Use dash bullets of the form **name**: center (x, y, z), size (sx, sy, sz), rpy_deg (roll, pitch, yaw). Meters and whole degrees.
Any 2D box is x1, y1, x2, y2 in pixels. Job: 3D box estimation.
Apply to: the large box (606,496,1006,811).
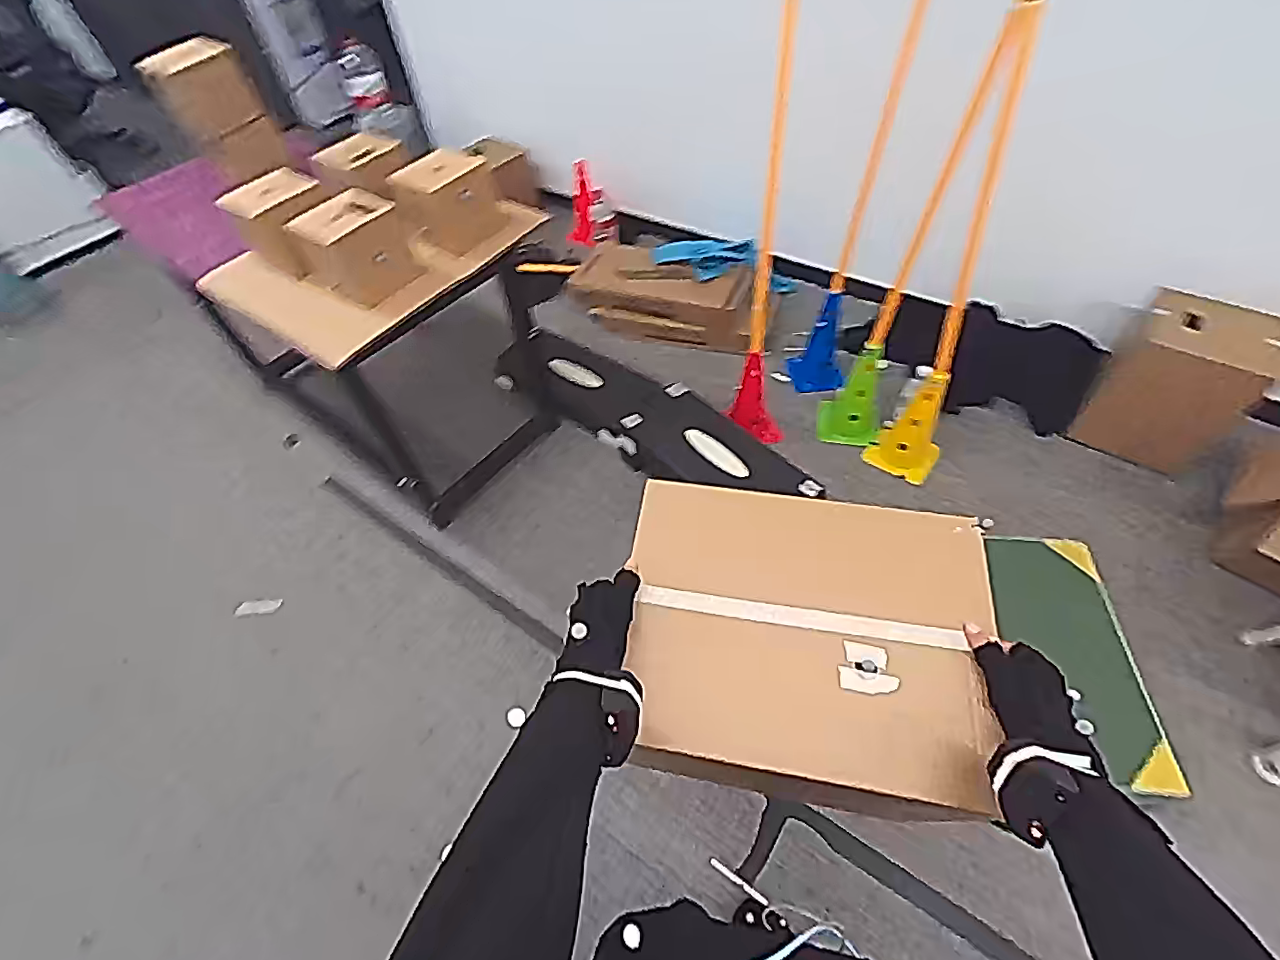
- **large box**: center (0.186, 0.245, 0.745), size (0.408, 0.320, 0.320), rpy_deg (6, 59, 8)
